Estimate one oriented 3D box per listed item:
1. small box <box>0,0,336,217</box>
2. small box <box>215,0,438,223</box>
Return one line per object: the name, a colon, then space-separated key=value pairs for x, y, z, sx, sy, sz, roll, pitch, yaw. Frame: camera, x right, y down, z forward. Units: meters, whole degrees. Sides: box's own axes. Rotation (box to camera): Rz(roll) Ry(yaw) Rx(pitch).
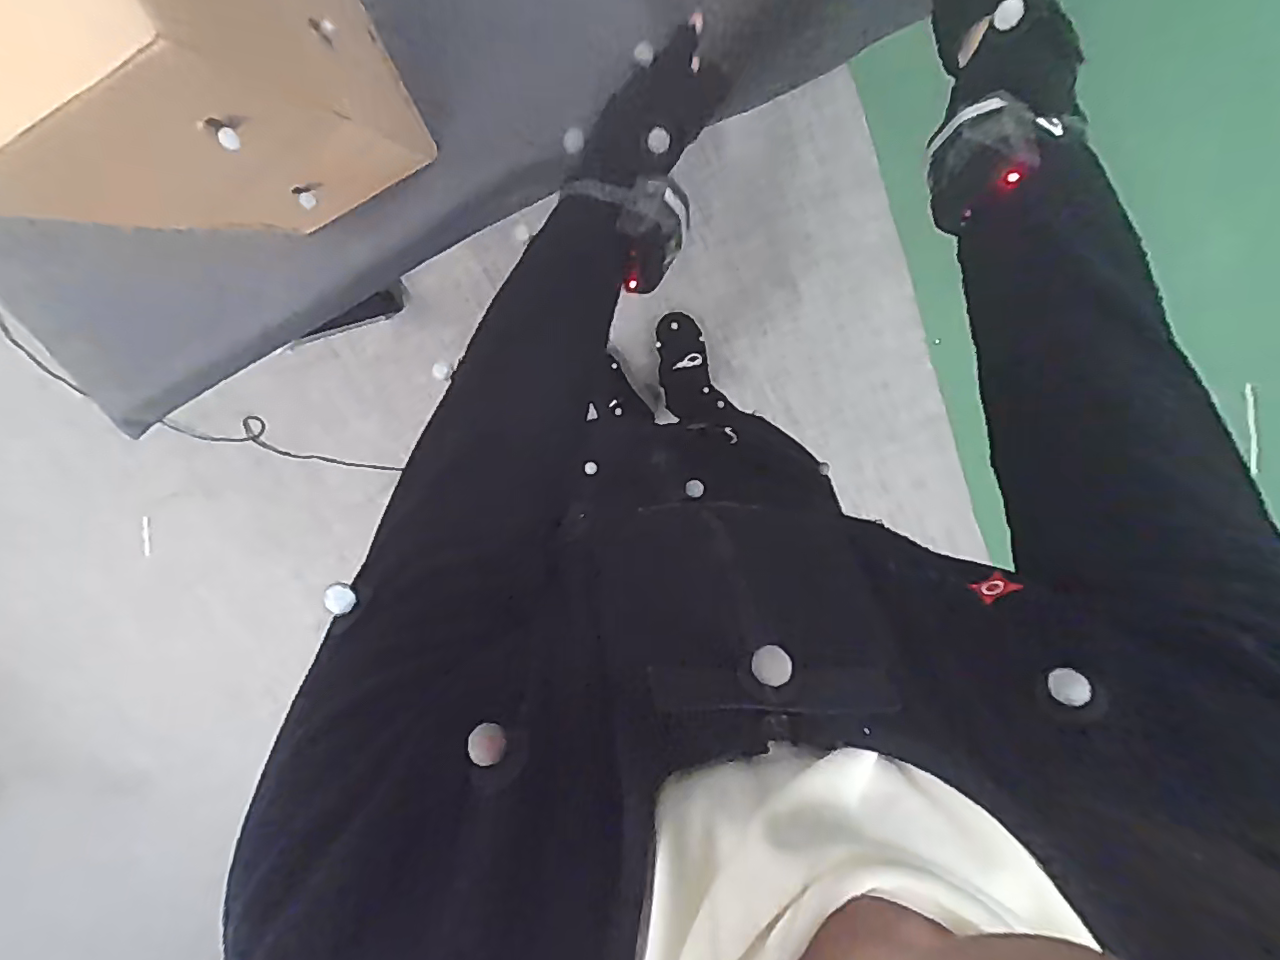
small box: x=-0.325 y=-0.282 z=0.327 sx=0.179 sy=0.176 sz=0.168 roll=-22 pitch=108 yaw=12
small box: x=-0.317 y=-0.346 z=0.476 sx=0.179 sy=0.176 sz=0.168 roll=-22 pitch=109 yaw=12
